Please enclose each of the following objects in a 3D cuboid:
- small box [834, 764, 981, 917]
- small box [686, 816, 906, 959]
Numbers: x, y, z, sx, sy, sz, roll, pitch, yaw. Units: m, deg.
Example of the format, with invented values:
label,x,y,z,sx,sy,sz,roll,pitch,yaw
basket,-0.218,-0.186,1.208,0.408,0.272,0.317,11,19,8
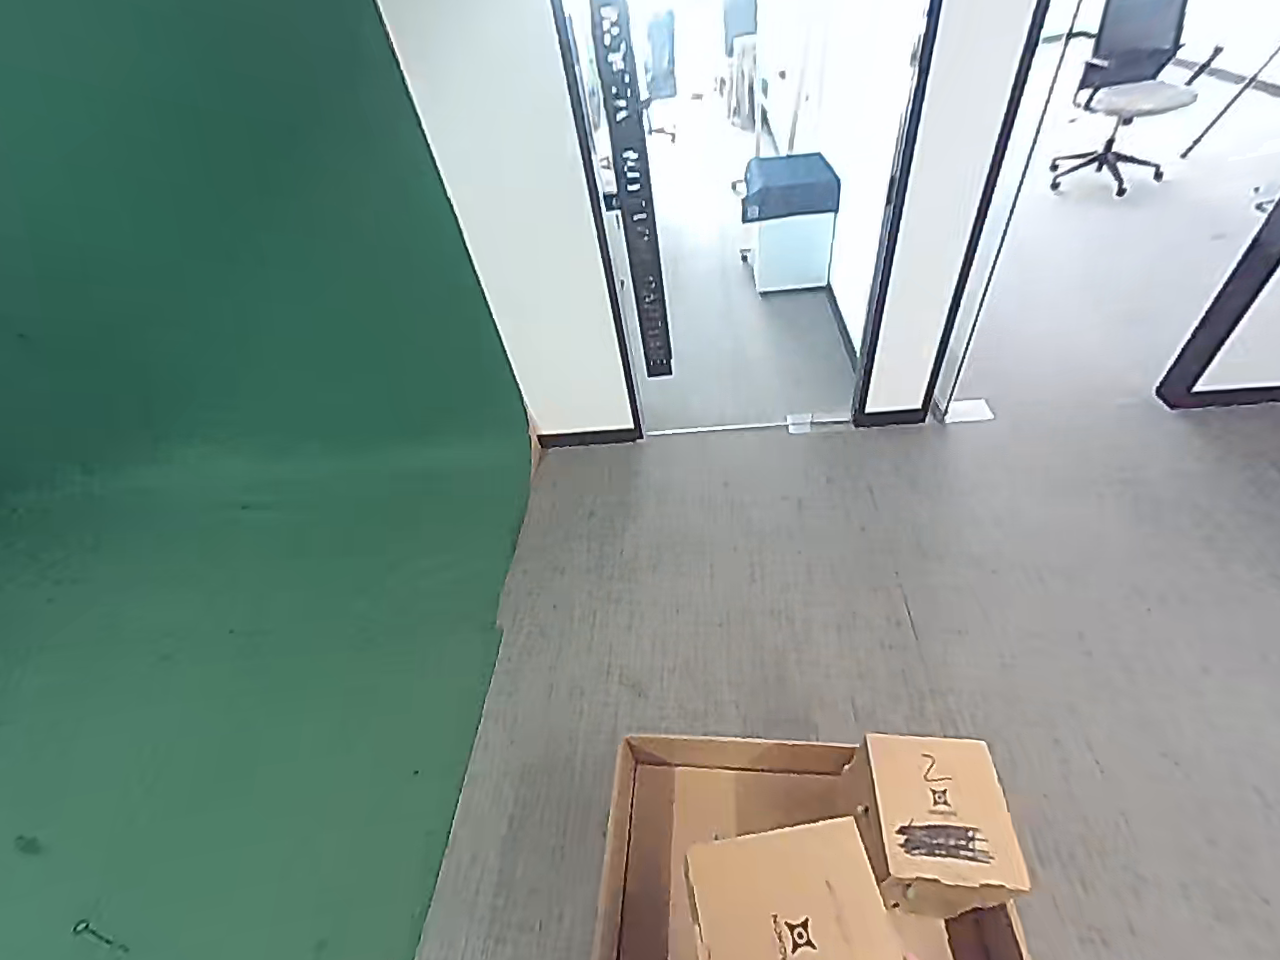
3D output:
label,x,y,z,sx,sy,sz,roll,pitch,yaw
small box,0.428,0.600,0.902,0.168,0.176,0.179,0,47,9
small box,0.146,0.459,0.541,0.179,0.176,0.168,-8,49,-3
